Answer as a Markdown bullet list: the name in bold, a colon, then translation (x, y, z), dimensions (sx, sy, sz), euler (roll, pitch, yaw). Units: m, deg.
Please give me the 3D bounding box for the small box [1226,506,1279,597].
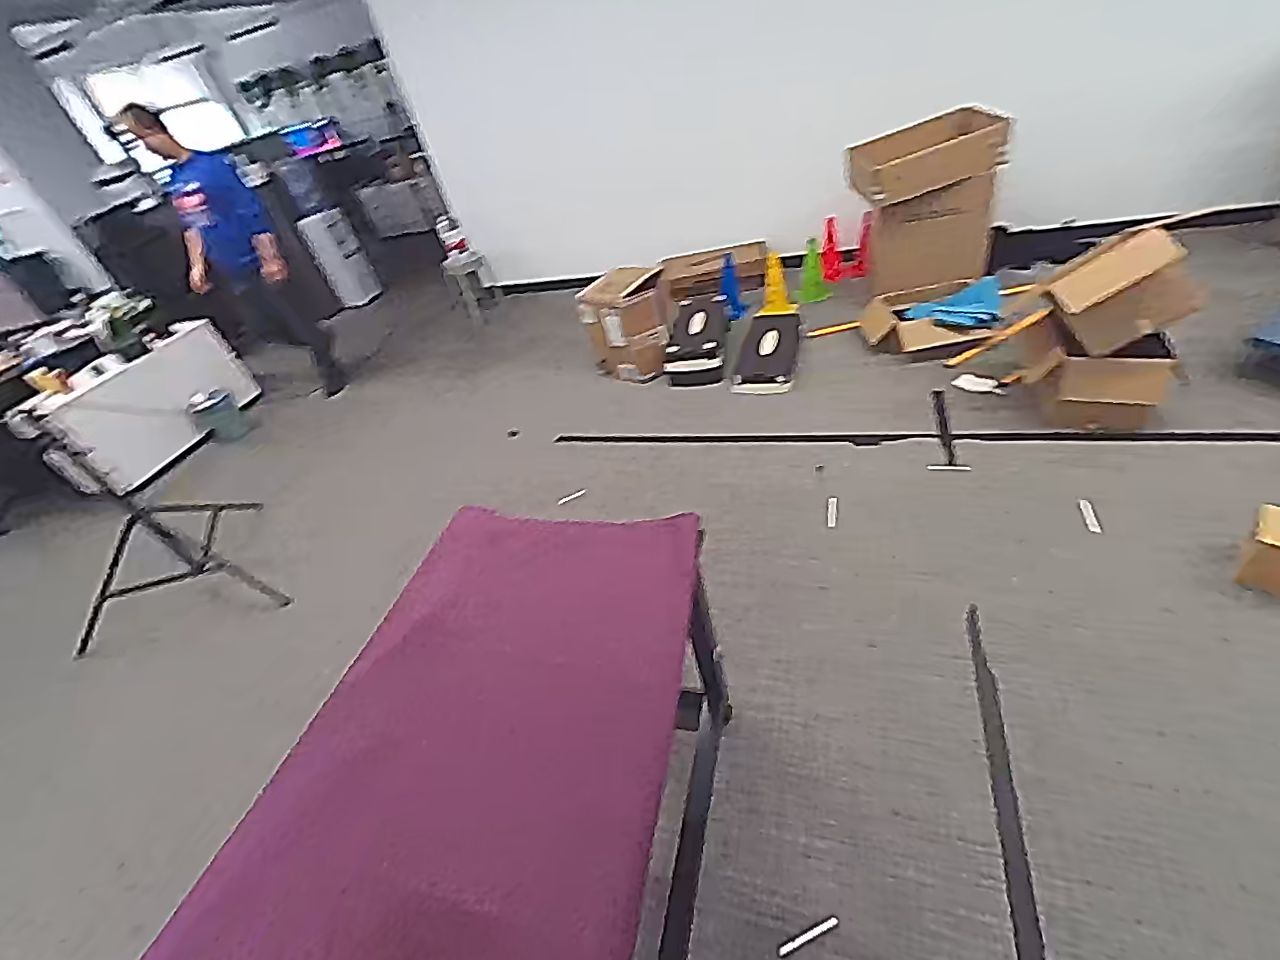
- **small box**: translation (1.763, 0.206, 1.478), dimensions (0.179, 0.176, 0.168), euler (23, 52, 36)
